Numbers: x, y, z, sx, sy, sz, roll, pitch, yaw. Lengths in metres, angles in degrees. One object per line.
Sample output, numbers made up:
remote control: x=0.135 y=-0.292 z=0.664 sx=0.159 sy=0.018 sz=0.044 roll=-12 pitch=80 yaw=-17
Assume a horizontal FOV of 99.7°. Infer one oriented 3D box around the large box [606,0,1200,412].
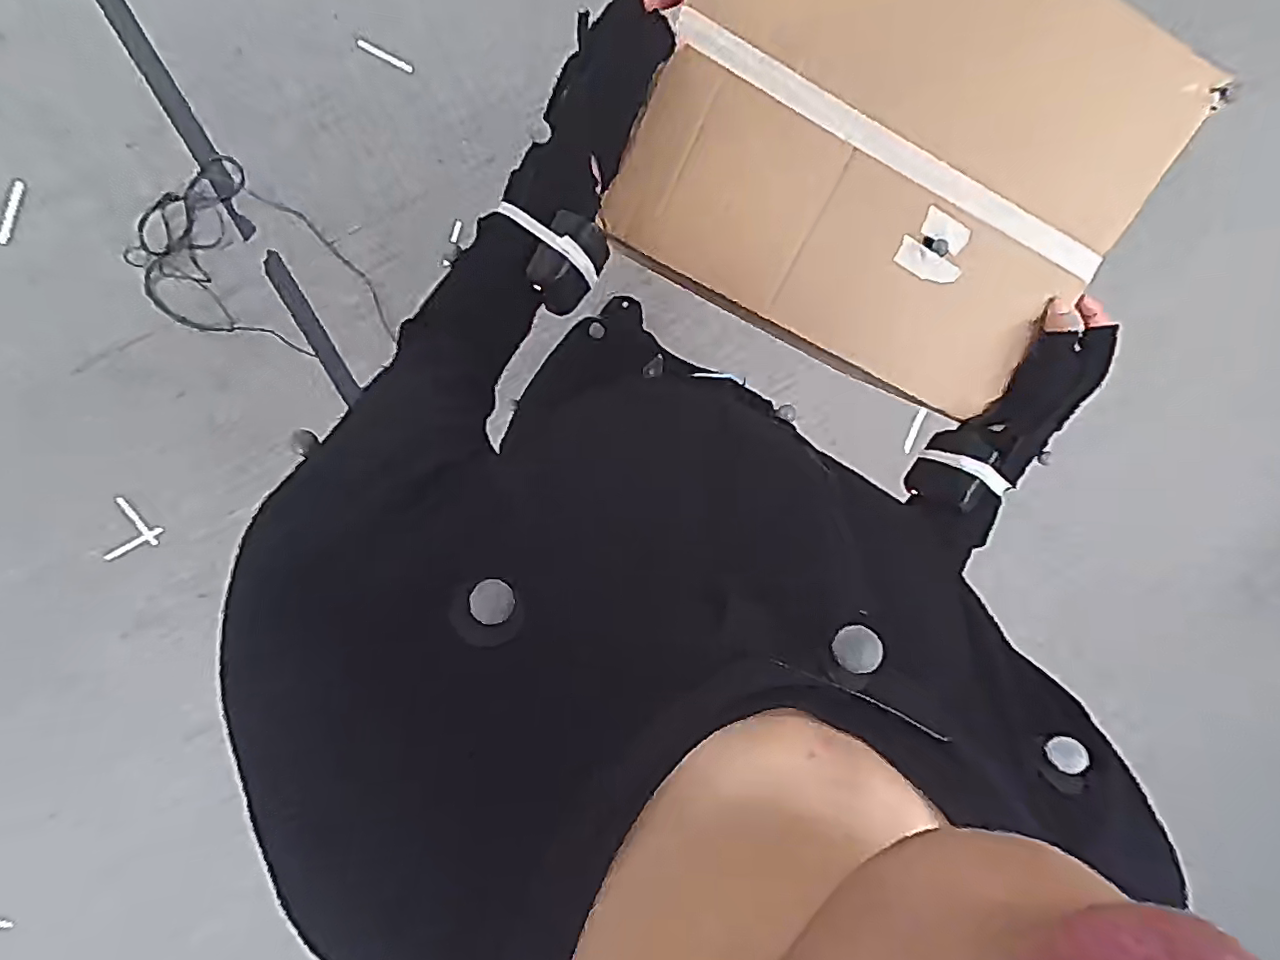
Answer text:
large box: x=0.207 y=-0.322 z=0.588 sx=0.408 sy=0.320 sz=0.320 roll=25 pitch=109 yaw=-10
